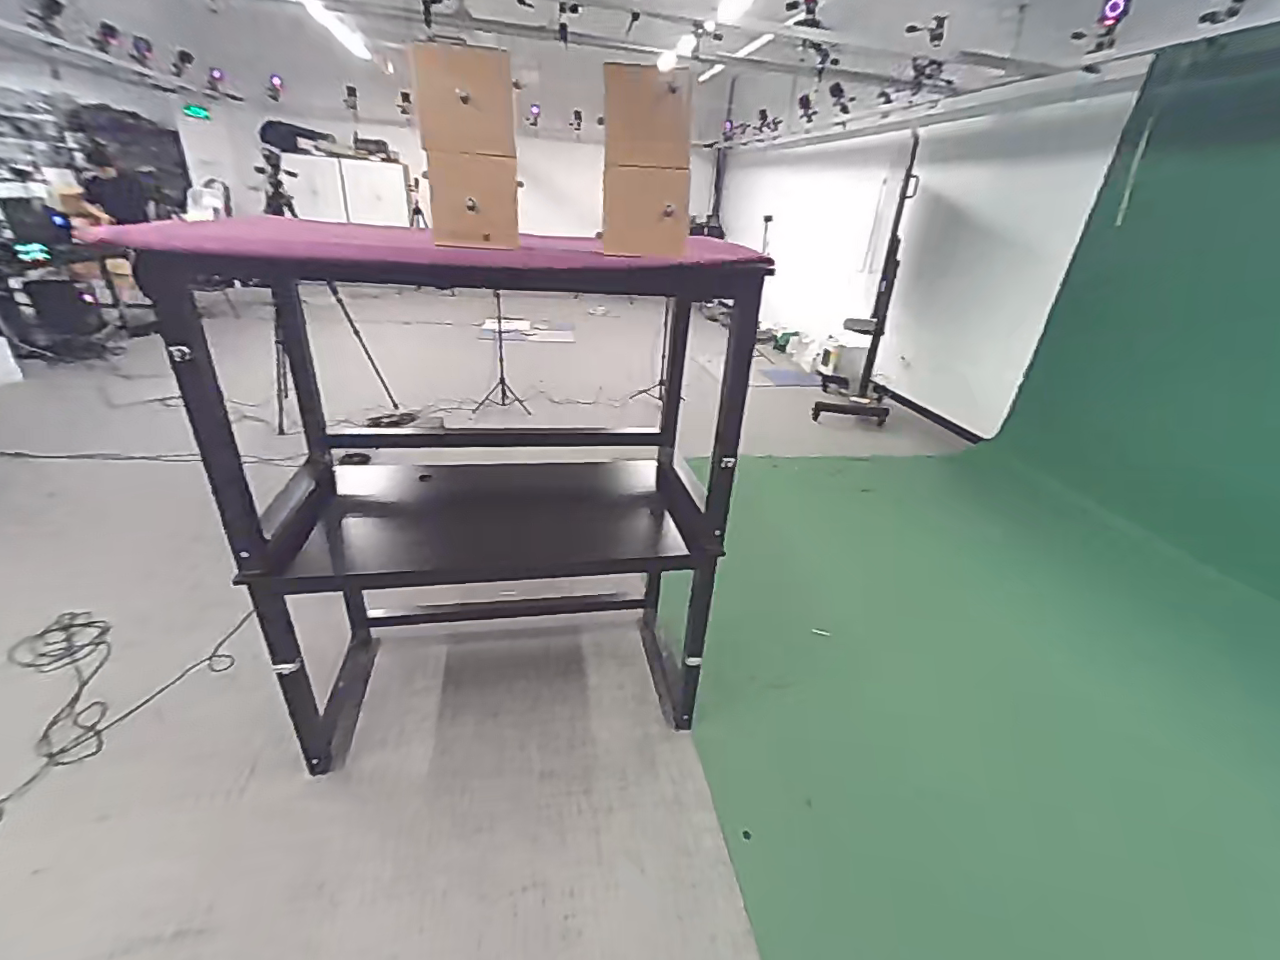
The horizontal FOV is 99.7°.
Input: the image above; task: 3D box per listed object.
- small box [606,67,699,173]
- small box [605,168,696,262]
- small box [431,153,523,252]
[{"bbox_3d":[0.019,-0.719,1.112,0.179,0.176,0.168,2,24,-4],"label":"small box"},{"bbox_3d":[0.015,-0.569,1.173,0.179,0.176,0.168,-1,24,-6],"label":"small box"},{"bbox_3d":[-0.333,-0.580,1.139,0.168,0.176,0.179,0,26,-11],"label":"small box"}]
